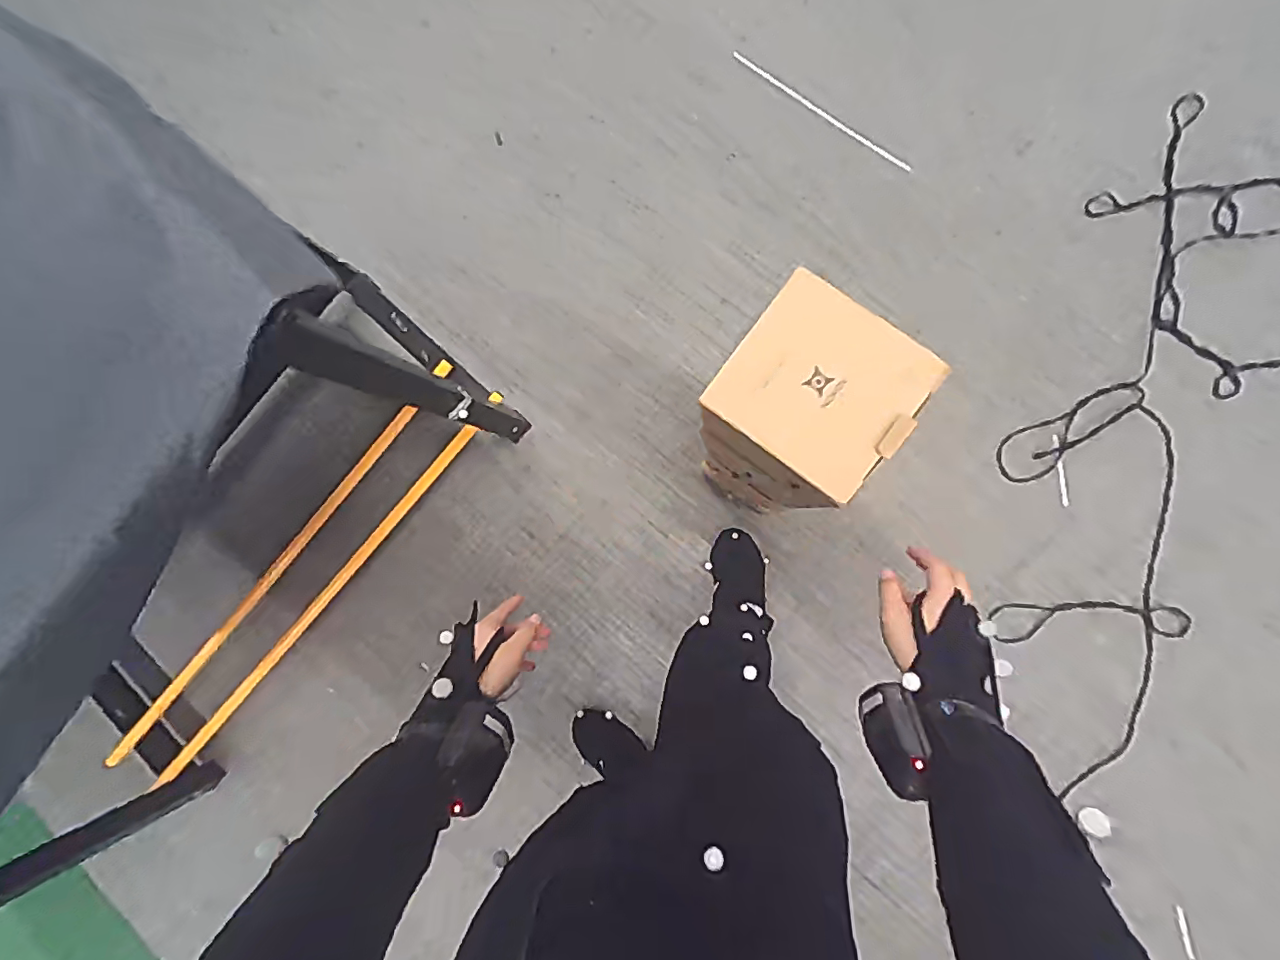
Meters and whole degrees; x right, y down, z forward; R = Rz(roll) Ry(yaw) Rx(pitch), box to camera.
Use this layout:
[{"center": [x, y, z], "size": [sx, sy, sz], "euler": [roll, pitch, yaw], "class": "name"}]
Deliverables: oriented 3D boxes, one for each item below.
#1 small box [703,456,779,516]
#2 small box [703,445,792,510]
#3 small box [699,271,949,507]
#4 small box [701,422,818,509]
[{"center": [0.240, -0.045, 1.081], "size": [0.168, 0.176, 0.179], "euler": [36, 92, 9], "class": "small box"}, {"center": [0.226, -0.063, 0.919], "size": [0.168, 0.176, 0.179], "euler": [37, 91, 8], "class": "small box"}, {"center": [0.184, -0.086, 0.595], "size": [0.179, 0.176, 0.168], "euler": [37, 92, 9], "class": "small box"}, {"center": [0.203, -0.076, 0.756], "size": [0.179, 0.176, 0.168], "euler": [37, 91, 7], "class": "small box"}]
